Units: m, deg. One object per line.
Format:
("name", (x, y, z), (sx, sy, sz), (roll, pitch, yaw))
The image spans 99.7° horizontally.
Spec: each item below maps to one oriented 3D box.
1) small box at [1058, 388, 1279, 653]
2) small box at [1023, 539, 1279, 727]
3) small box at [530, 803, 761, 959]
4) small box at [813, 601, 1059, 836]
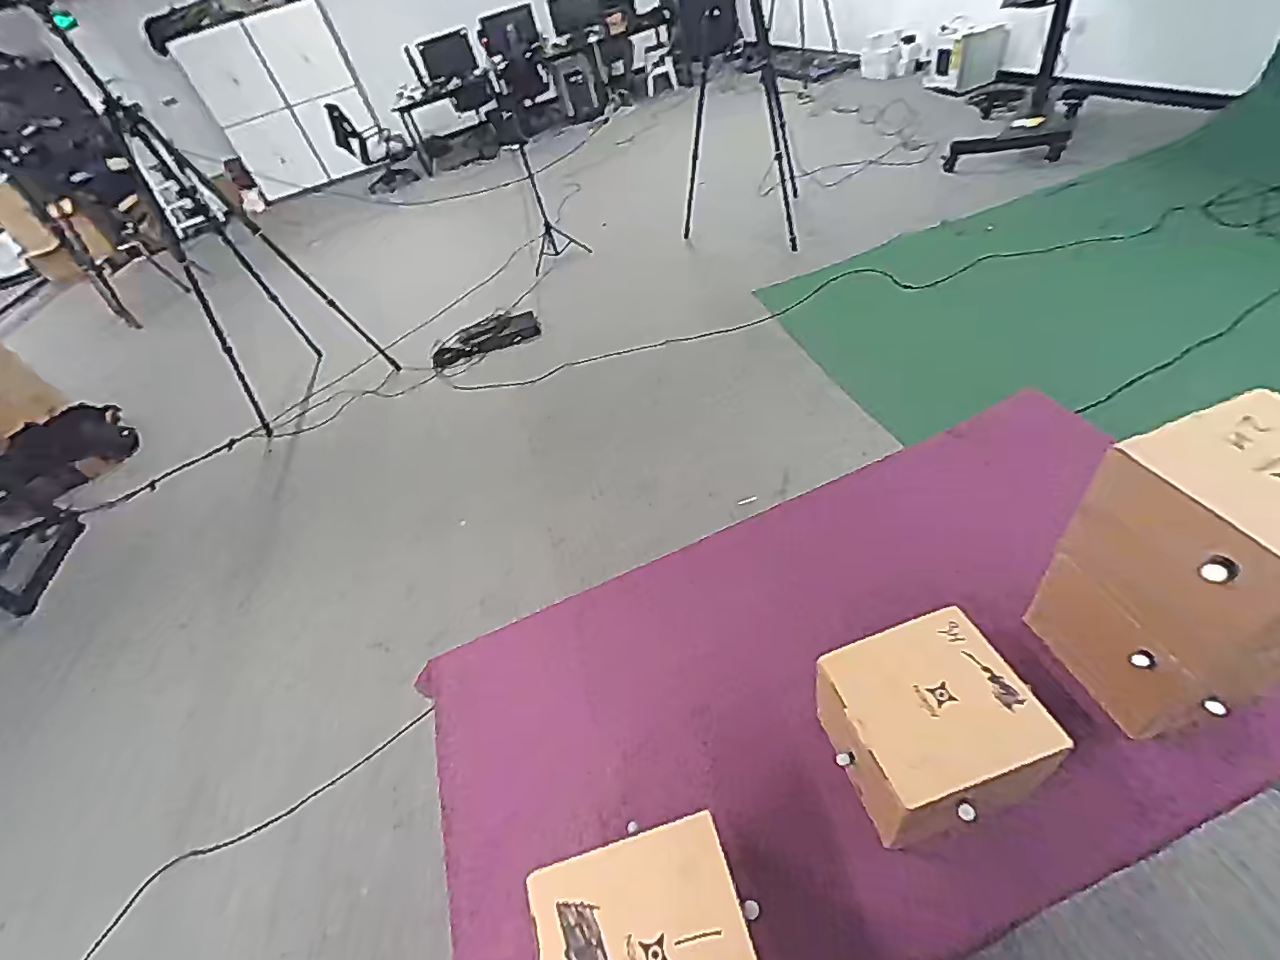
("small box", (0.570, 0.046, 0.530), (0.168, 0.176, 0.179), (-20, 44, -3))
("small box", (0.607, 0.159, 0.644), (0.168, 0.176, 0.179), (-20, 44, -1))
("small box", (0.014, 0.429, 0.511), (0.179, 0.176, 0.168), (-17, 56, -5))
("small box", (0.320, 0.276, 0.621), (0.179, 0.176, 0.168), (-21, 43, -1))
